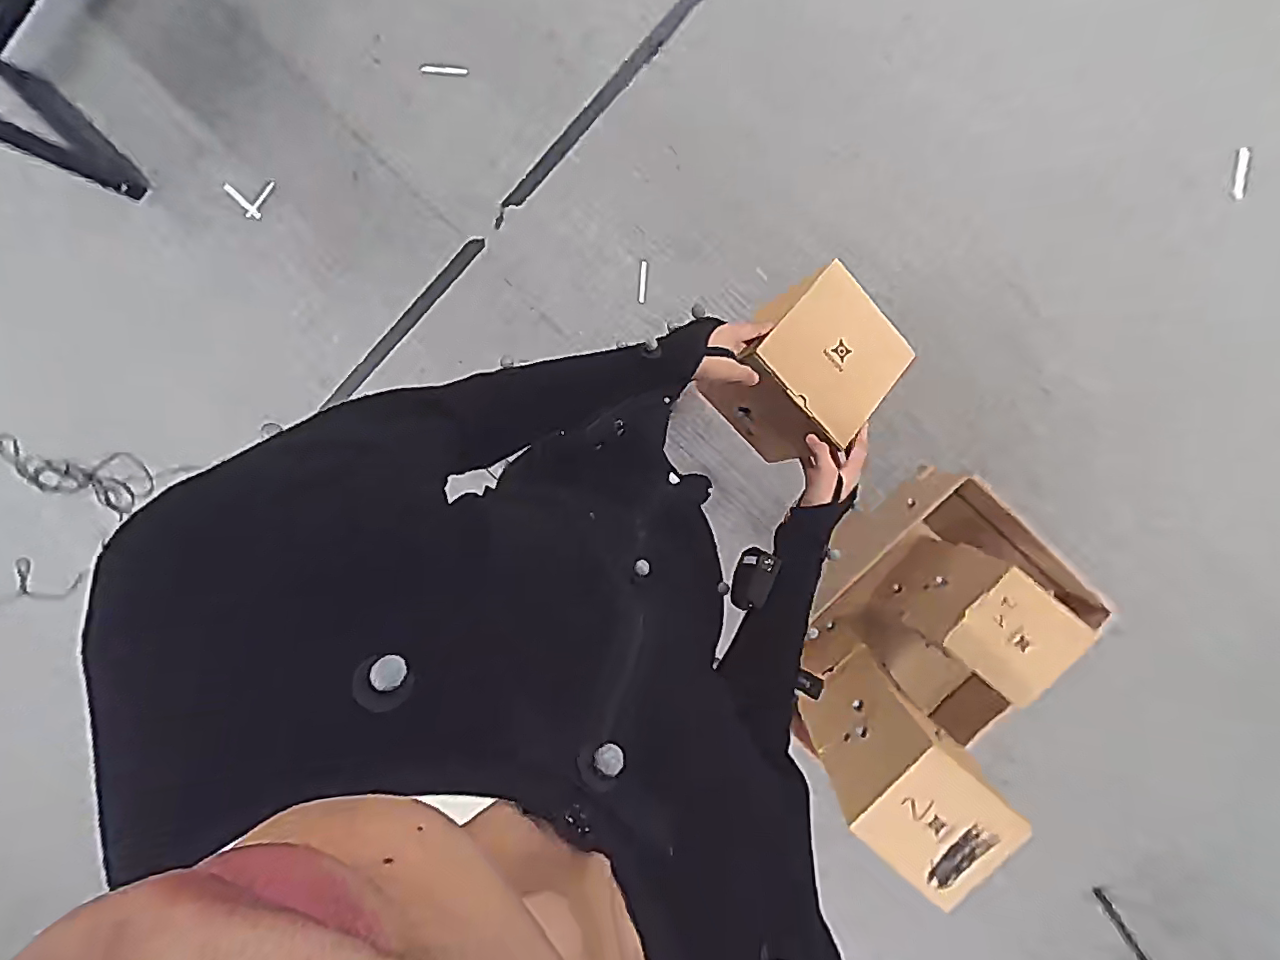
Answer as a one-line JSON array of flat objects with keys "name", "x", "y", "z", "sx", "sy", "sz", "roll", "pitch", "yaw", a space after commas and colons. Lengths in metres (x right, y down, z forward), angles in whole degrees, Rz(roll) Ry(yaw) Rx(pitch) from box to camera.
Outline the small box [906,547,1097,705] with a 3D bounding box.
[{"name": "small box", "x": 0.607, "y": 0.238, "z": 0.933, "sx": 0.179, "sy": 0.176, "sz": 0.168, "roll": 40, "pitch": 98, "yaw": 1}]

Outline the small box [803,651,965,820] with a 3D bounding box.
[{"name": "small box", "x": 0.421, "y": 0.442, "z": 0.964, "sx": 0.168, "sy": 0.176, "sz": 0.179, "roll": -43, "pitch": 91, "yaw": 7}]

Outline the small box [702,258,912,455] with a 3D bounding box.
[{"name": "small box", "x": 0.214, "y": -0.152, "z": 0.729, "sx": 0.168, "sy": 0.176, "sz": 0.179, "roll": 43, "pitch": 75, "yaw": -12}]
